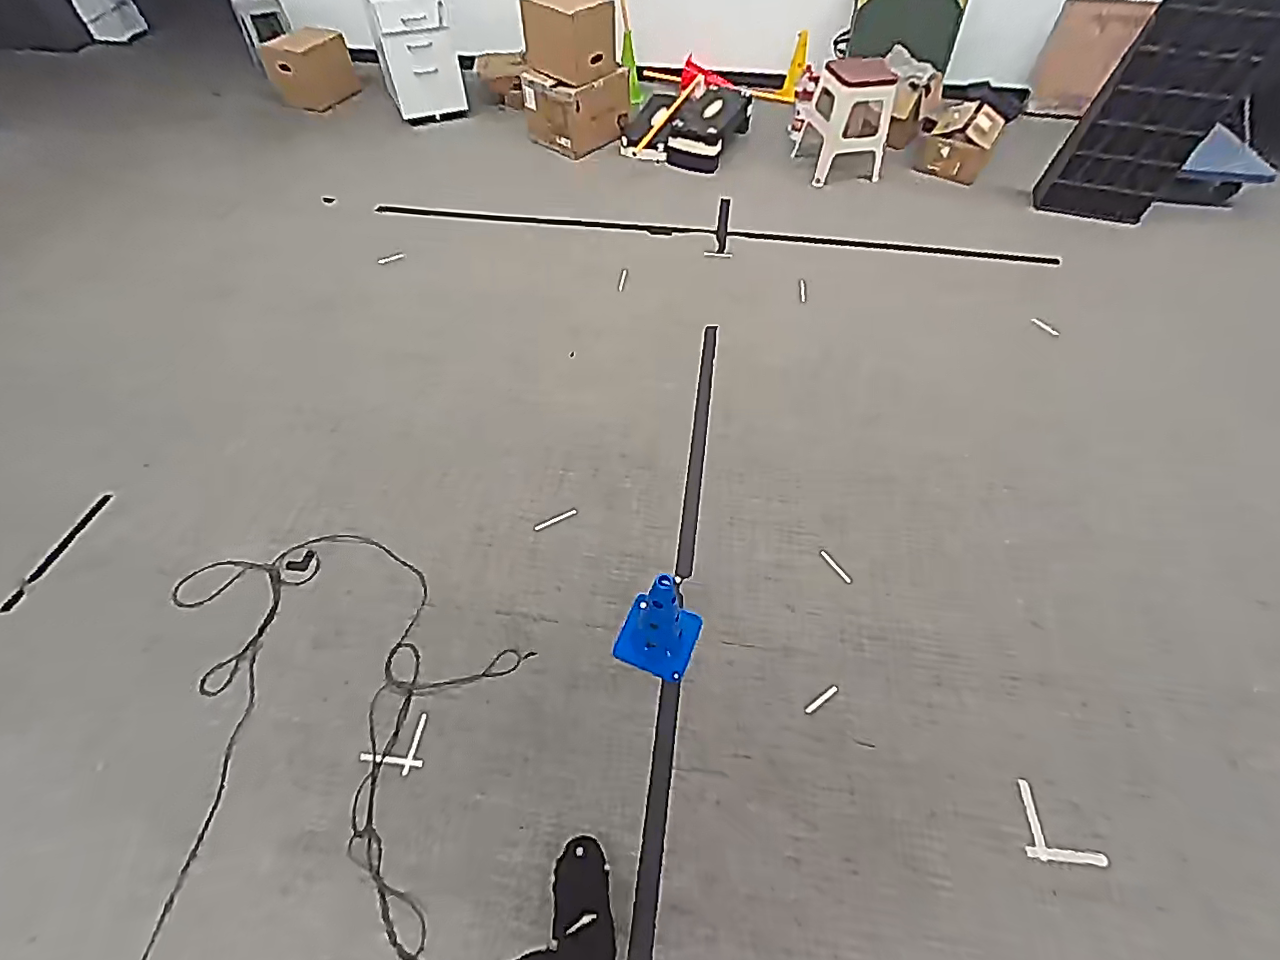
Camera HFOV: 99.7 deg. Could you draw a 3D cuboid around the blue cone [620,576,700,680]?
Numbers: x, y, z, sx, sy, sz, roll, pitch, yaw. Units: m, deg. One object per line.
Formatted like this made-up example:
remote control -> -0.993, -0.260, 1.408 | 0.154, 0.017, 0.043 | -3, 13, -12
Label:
blue cone -> 0.058, 0.333, 1.342 | 0.192, 0.380, 0.193 | 21, 56, 13
